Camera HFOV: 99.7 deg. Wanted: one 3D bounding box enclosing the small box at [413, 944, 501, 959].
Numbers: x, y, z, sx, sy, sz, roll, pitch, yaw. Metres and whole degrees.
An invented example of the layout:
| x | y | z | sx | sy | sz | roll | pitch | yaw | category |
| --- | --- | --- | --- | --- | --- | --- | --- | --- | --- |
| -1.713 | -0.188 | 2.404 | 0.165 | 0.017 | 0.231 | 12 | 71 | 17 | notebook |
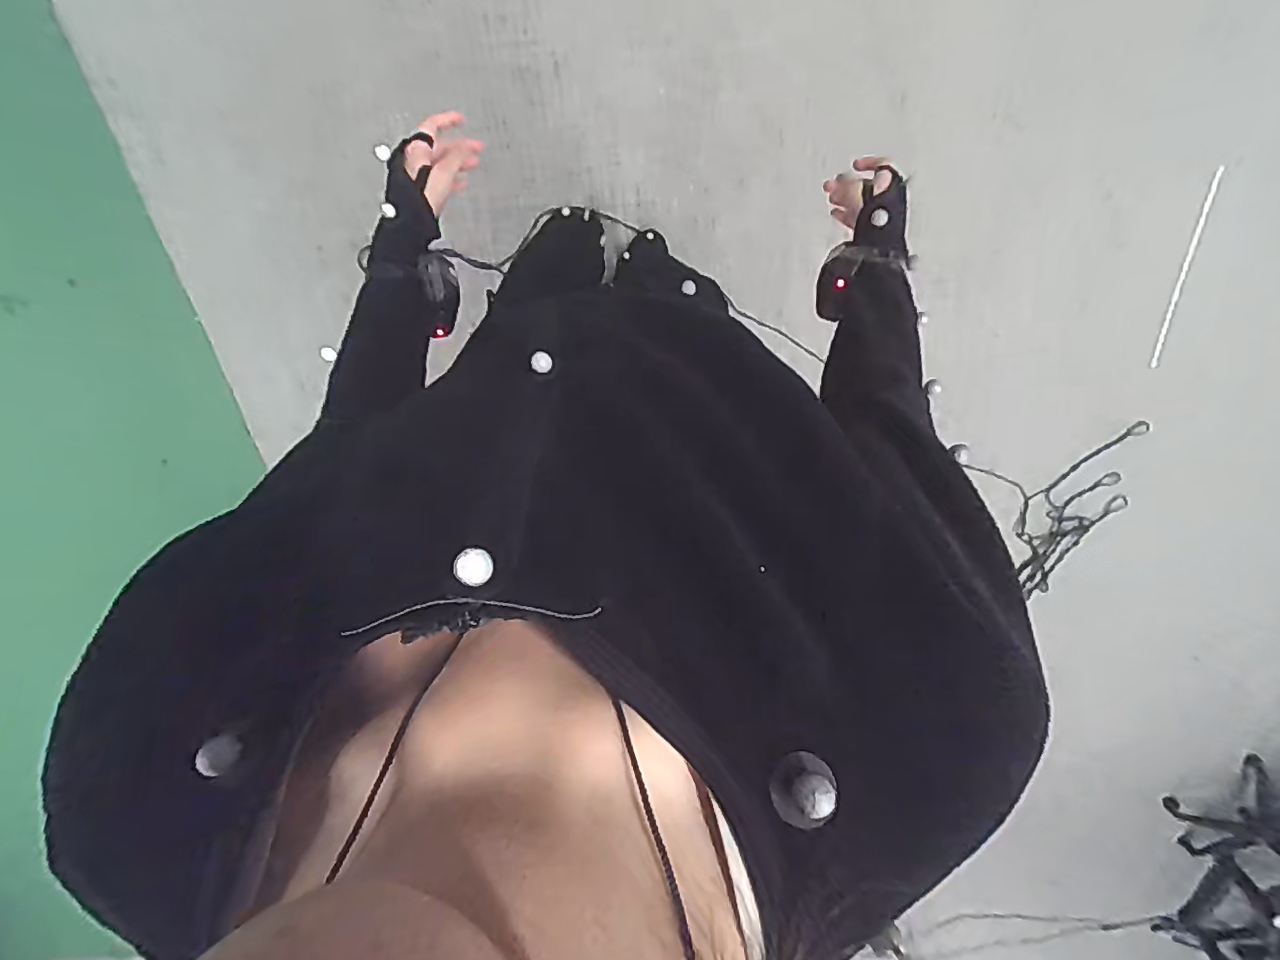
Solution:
| x | y | z | sx | sy | sz | roll | pitch | yaw | category |
| --- | --- | --- | --- | --- | --- | --- | --- | --- | --- |
| -0.366 | 1.049 | 1.061 | 0.179 | 0.176 | 0.168 | -6 | 118 | 2 | small box |
